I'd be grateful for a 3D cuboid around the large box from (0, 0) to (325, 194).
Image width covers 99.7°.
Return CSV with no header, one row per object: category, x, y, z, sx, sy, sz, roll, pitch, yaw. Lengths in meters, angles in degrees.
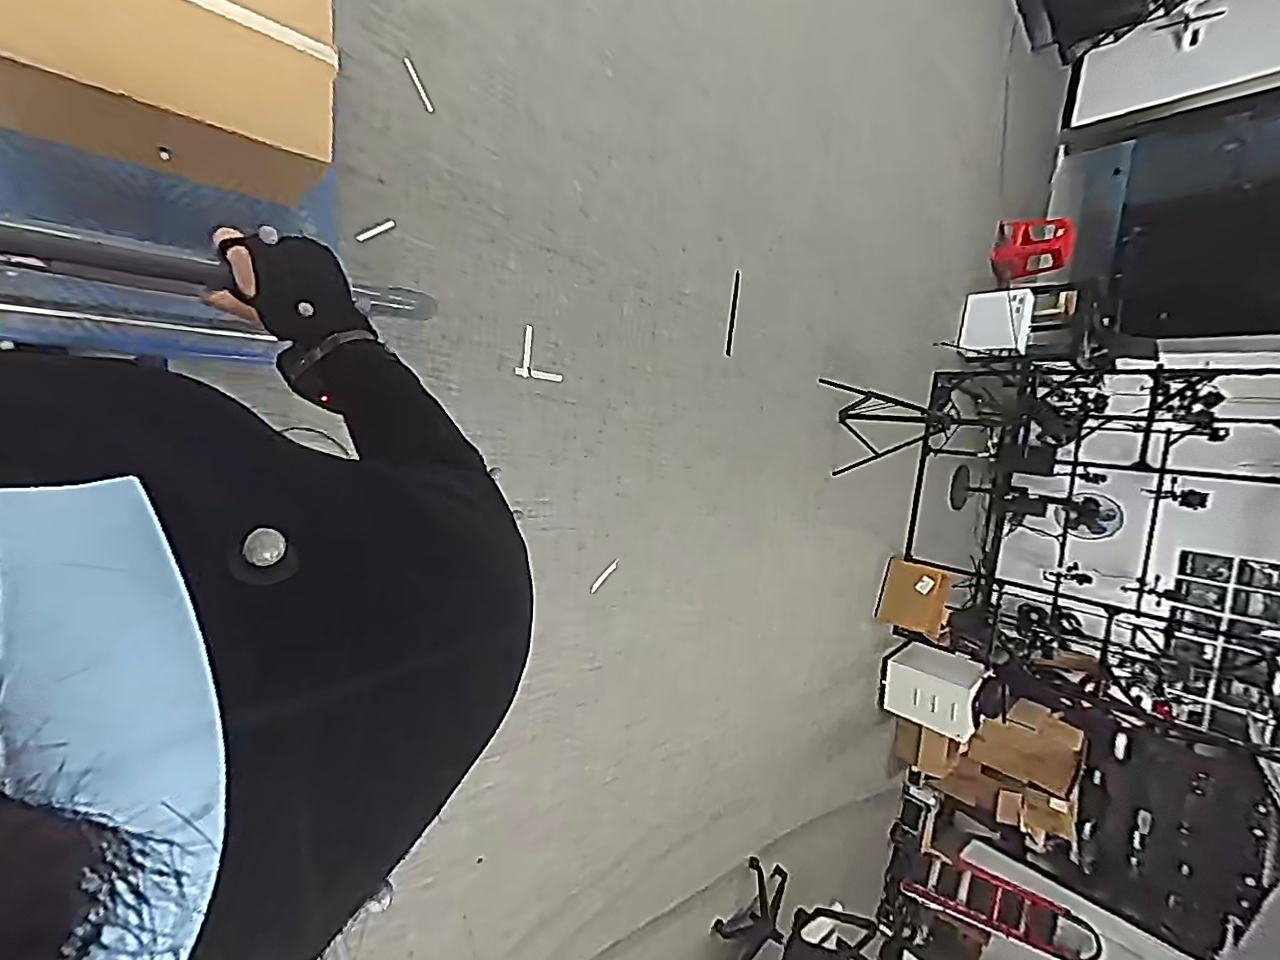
large box,-0.745,-0.691,0.831,0.408,0.320,0.320,-2,99,-42
